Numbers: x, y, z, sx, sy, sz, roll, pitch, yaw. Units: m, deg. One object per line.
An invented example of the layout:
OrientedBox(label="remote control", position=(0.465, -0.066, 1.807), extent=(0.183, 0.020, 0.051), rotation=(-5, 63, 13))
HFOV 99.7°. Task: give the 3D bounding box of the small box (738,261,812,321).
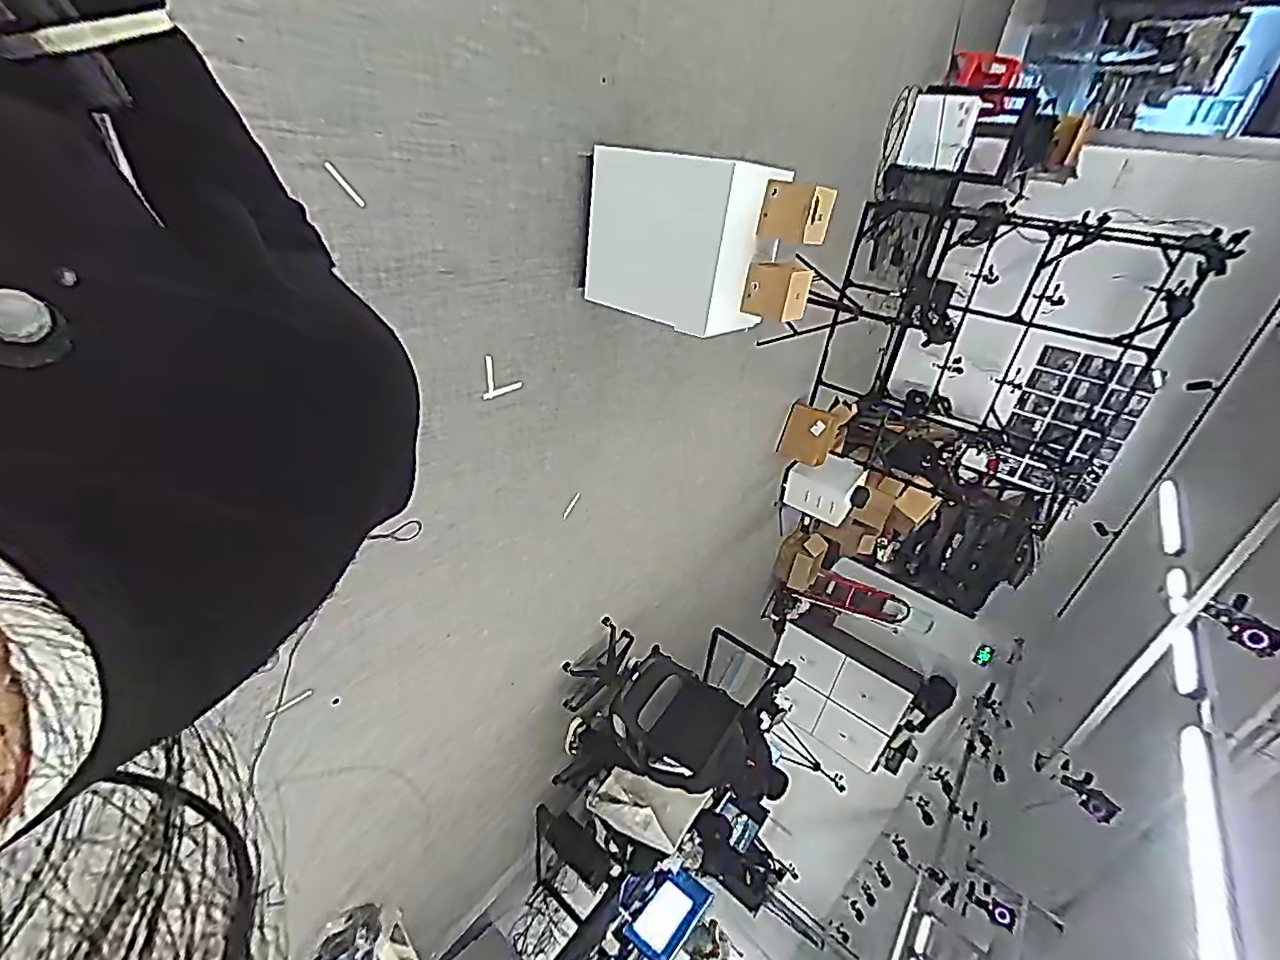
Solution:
OrientedBox(label="small box", position=(0.469, -0.664, 1.886), extent=(0.179, 0.176, 0.168), rotation=(-26, 132, -44))

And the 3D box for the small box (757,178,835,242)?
OrientedBox(label="small box", position=(0.503, -0.880, 1.764), extent=(0.179, 0.176, 0.168), rotation=(-26, 135, -47))
